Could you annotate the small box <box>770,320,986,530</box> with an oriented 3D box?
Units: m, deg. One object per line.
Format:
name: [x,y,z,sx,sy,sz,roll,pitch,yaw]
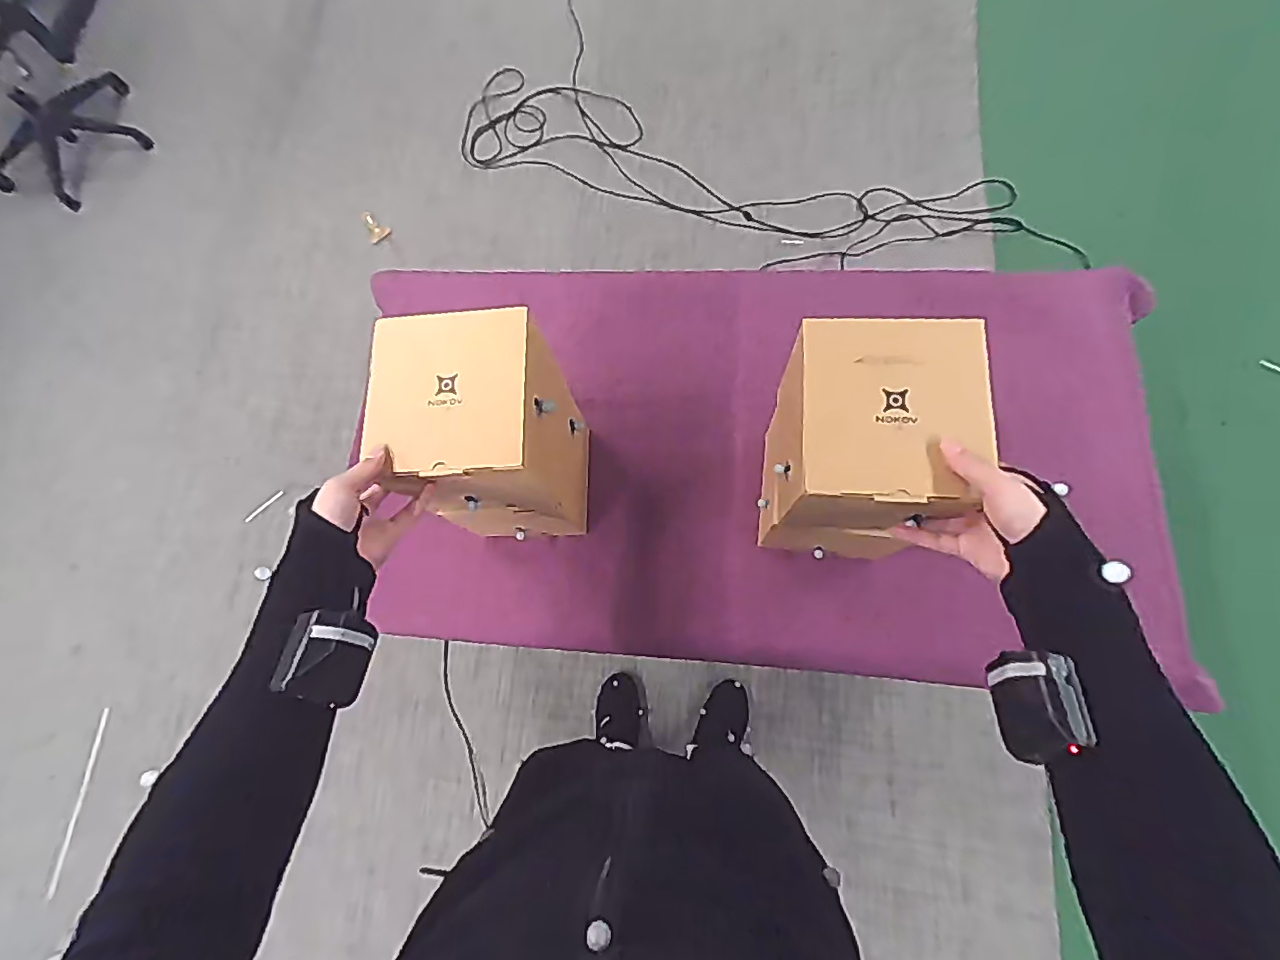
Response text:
small box: [0.231,-0.047,0.567,0.168,0.176,0.179,3,75,7]

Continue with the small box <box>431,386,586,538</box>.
small box: [-0.175,-0.018,0.777,0.168,0.176,0.179,-2,74,6]

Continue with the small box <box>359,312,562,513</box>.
small box: [-0.190,-0.067,0.622,0.168,0.176,0.179,-3,74,5]
